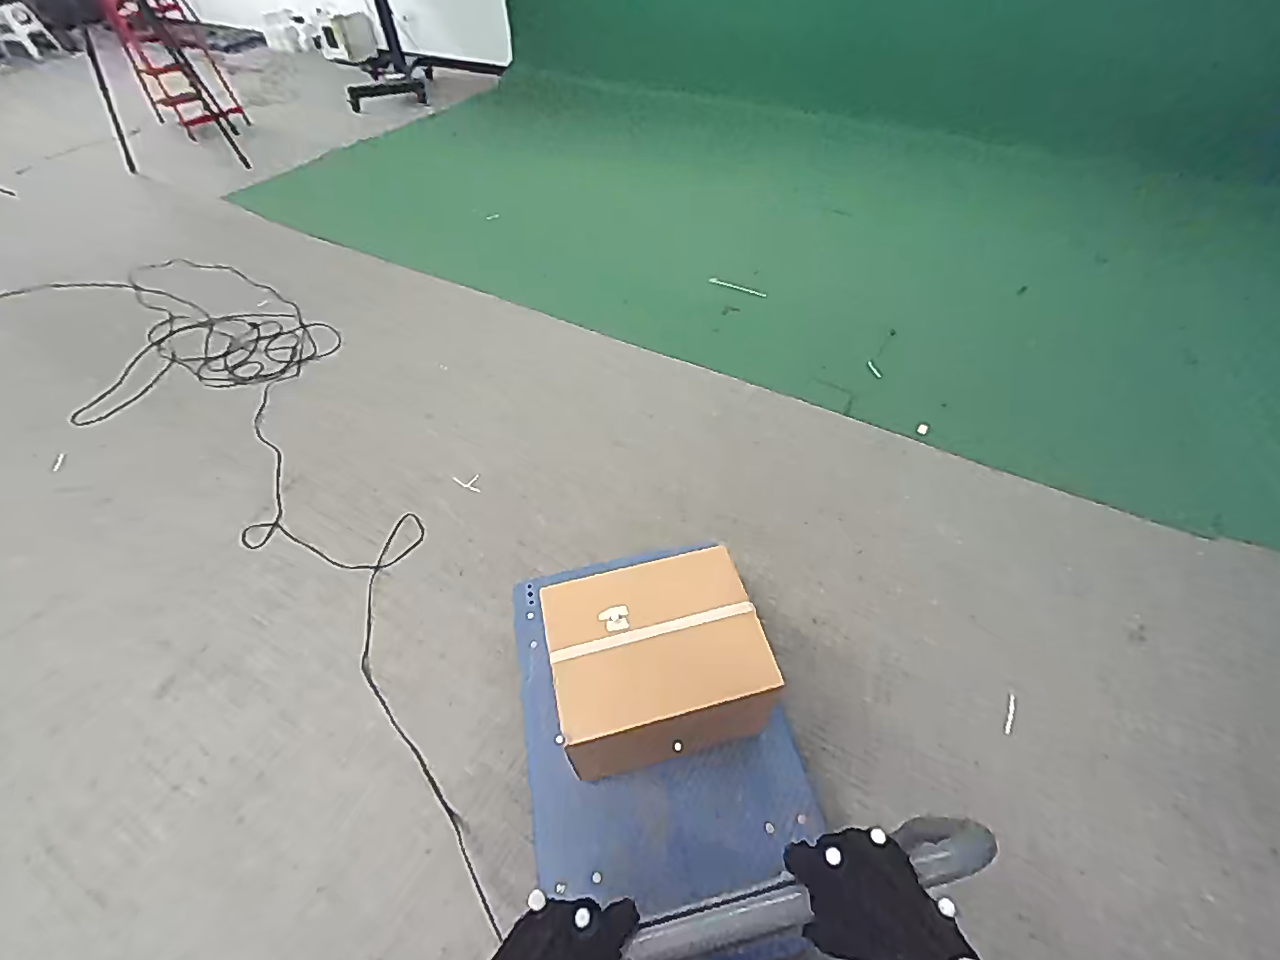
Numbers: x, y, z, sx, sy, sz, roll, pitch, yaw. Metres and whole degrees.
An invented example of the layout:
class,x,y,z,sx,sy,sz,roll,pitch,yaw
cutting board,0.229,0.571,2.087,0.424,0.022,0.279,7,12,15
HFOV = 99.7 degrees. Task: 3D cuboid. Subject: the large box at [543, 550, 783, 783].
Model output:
class,x,y,z,sx,sy,sz,roll,pitch,yaw
large box,0.037,0.400,1.158,0.408,0.320,0.320,-13,50,-8
